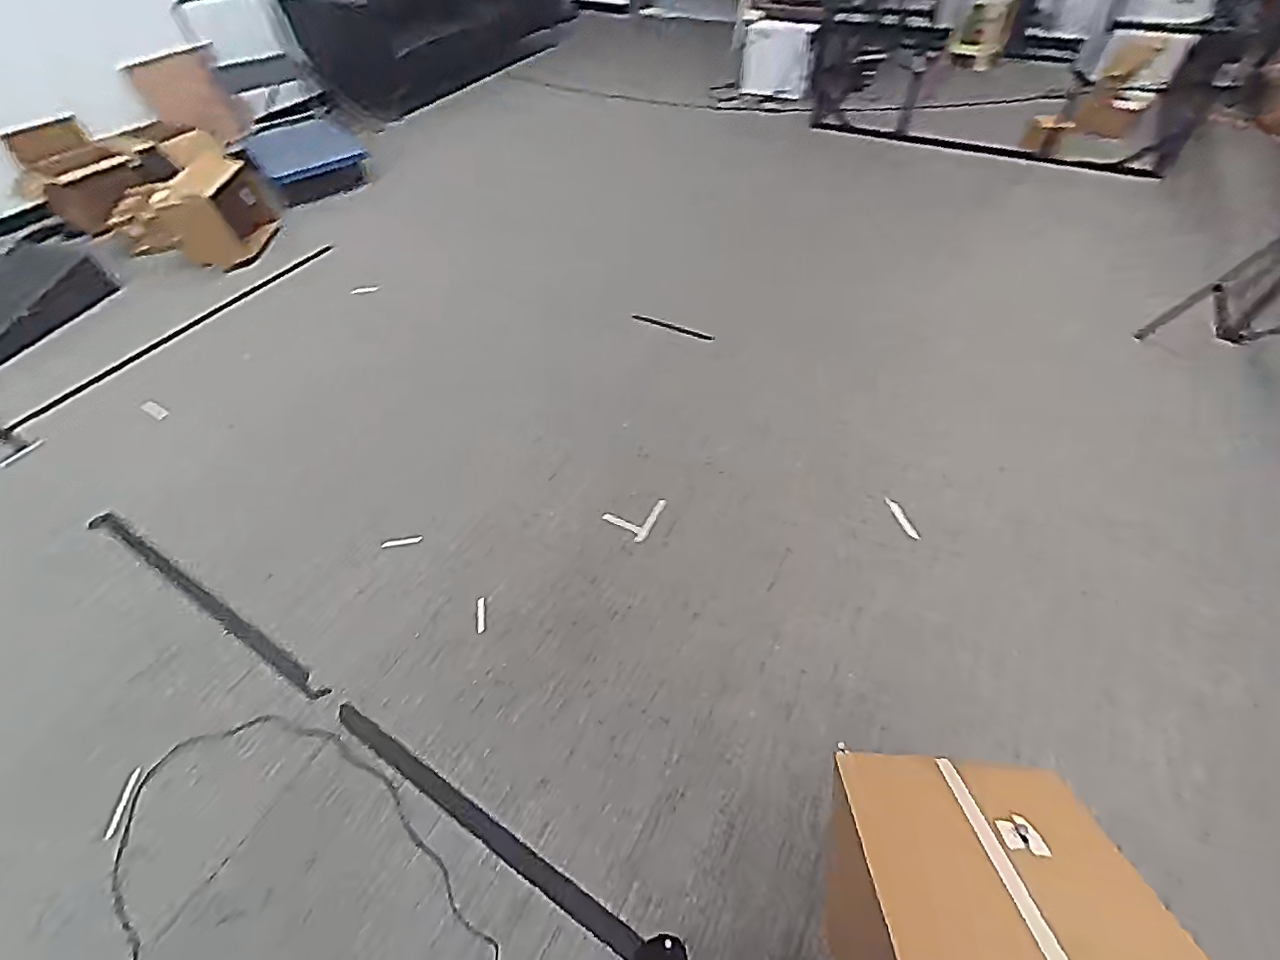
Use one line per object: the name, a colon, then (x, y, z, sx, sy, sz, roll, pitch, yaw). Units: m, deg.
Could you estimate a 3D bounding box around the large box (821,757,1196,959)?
large box: (0.429, 0.624, 0.671, 0.320, 0.320, 0.408, 2, 11, 6)
